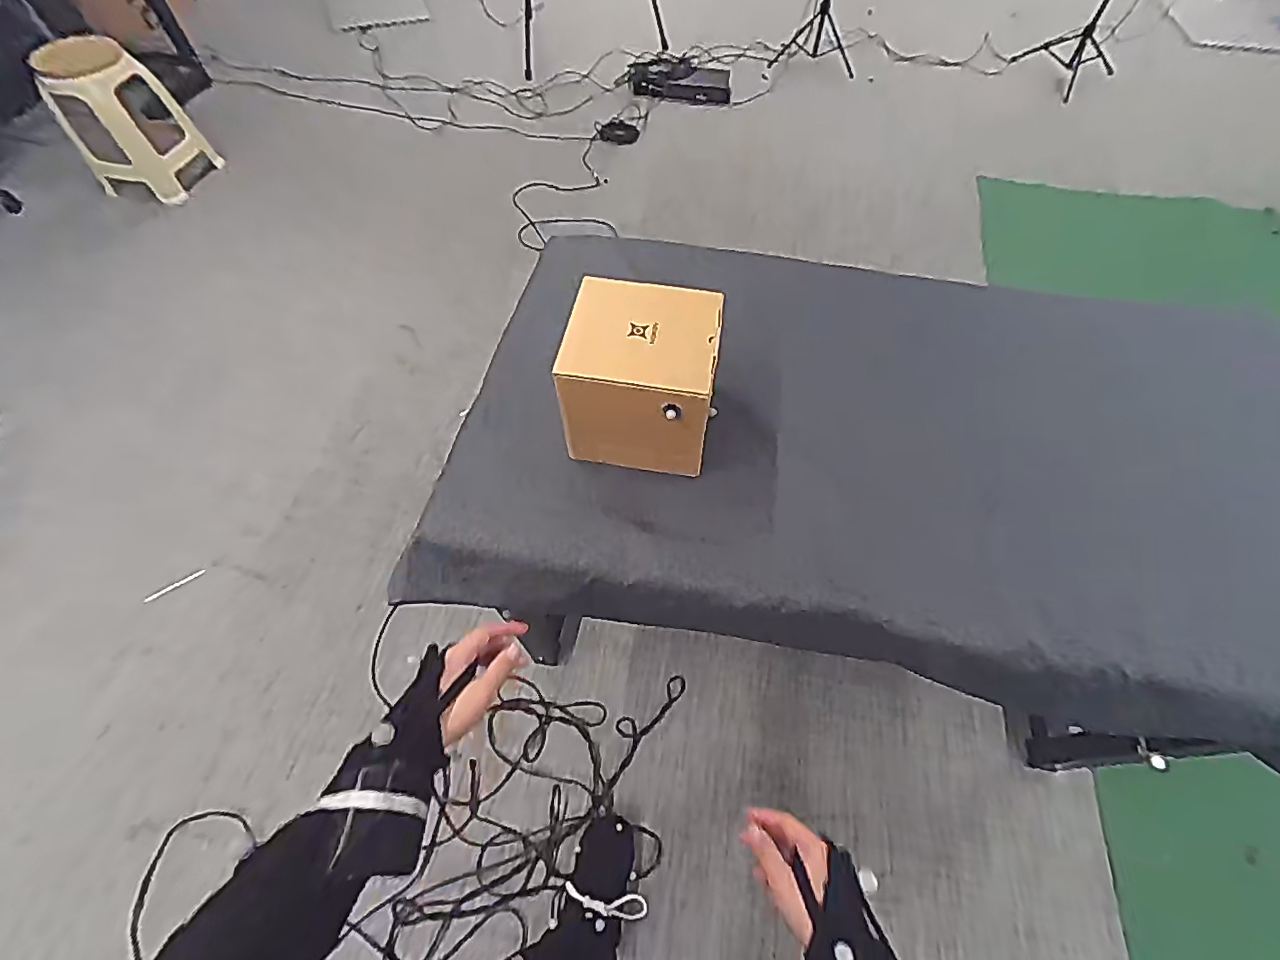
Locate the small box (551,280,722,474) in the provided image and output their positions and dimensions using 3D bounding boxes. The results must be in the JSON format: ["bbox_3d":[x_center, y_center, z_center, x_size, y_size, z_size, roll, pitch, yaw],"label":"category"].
[{"bbox_3d":[0.001,-0.124,0.686,0.179,0.176,0.168,8,58,4],"label":"small box"}]
